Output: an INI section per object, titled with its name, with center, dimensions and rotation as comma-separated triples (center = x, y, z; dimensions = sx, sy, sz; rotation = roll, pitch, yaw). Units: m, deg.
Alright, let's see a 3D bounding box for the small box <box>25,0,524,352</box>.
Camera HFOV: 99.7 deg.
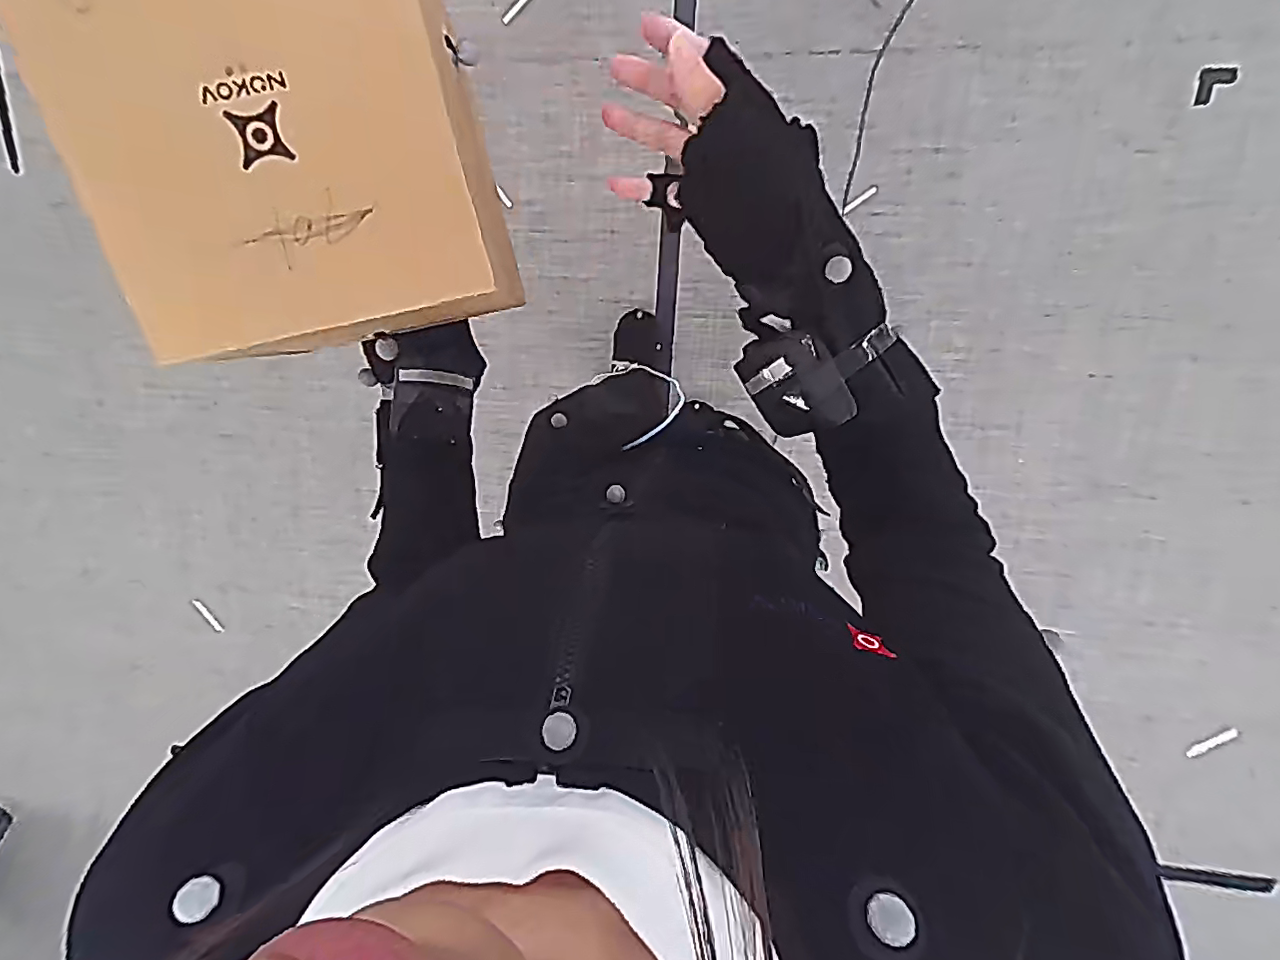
[small box]
center = -0.176, -0.181, 0.327
dimensions = 0.168, 0.176, 0.179
rotation = -13, 107, -2
